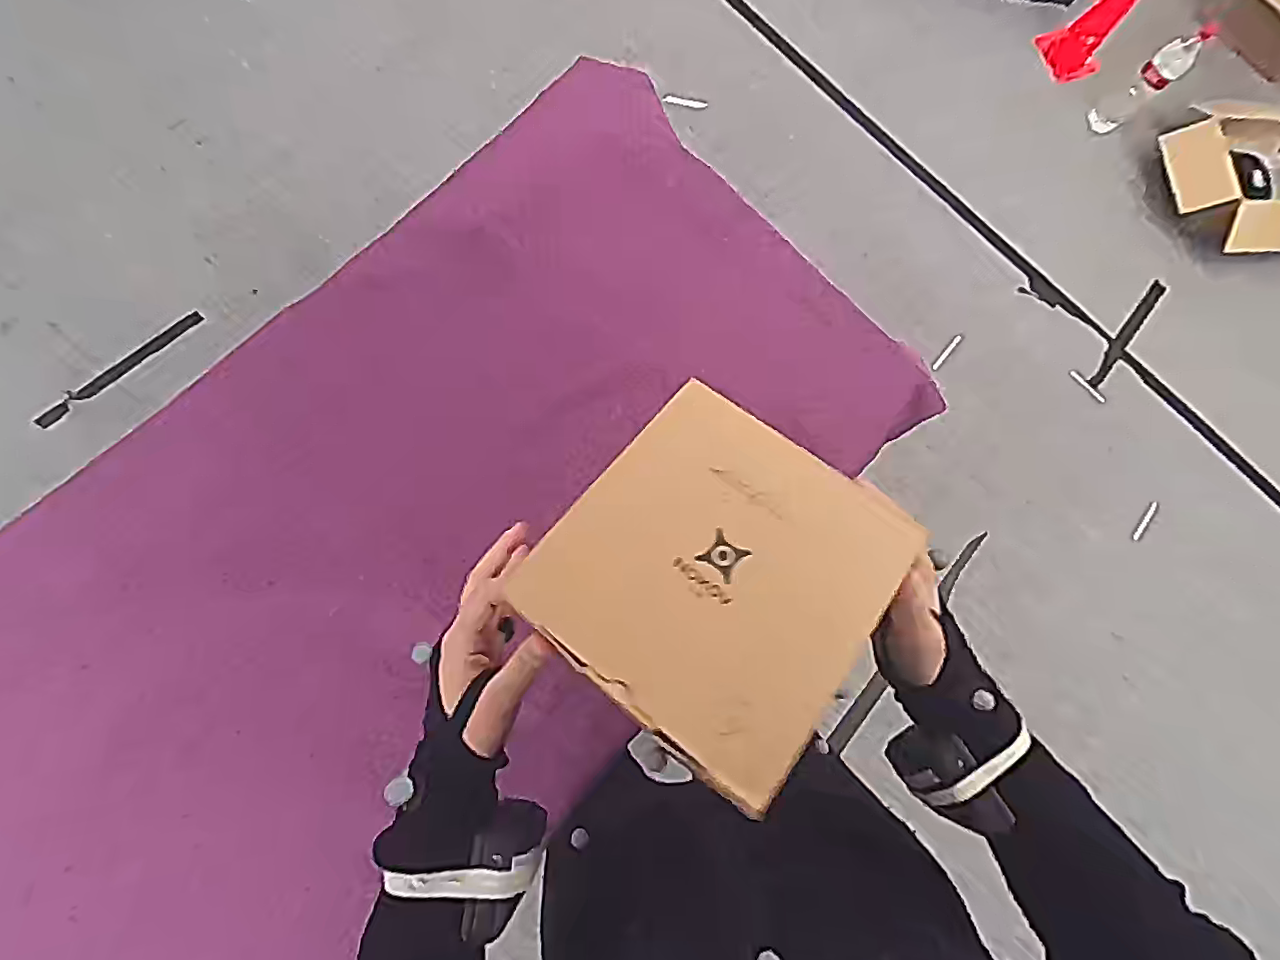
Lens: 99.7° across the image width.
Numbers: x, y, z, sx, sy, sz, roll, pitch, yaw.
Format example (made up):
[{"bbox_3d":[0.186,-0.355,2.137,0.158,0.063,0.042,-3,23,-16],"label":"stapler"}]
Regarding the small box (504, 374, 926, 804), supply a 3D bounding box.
[{"bbox_3d":[0.042,0.073,0.359,0.168,0.176,0.179,35,68,12],"label":"small box"}]
